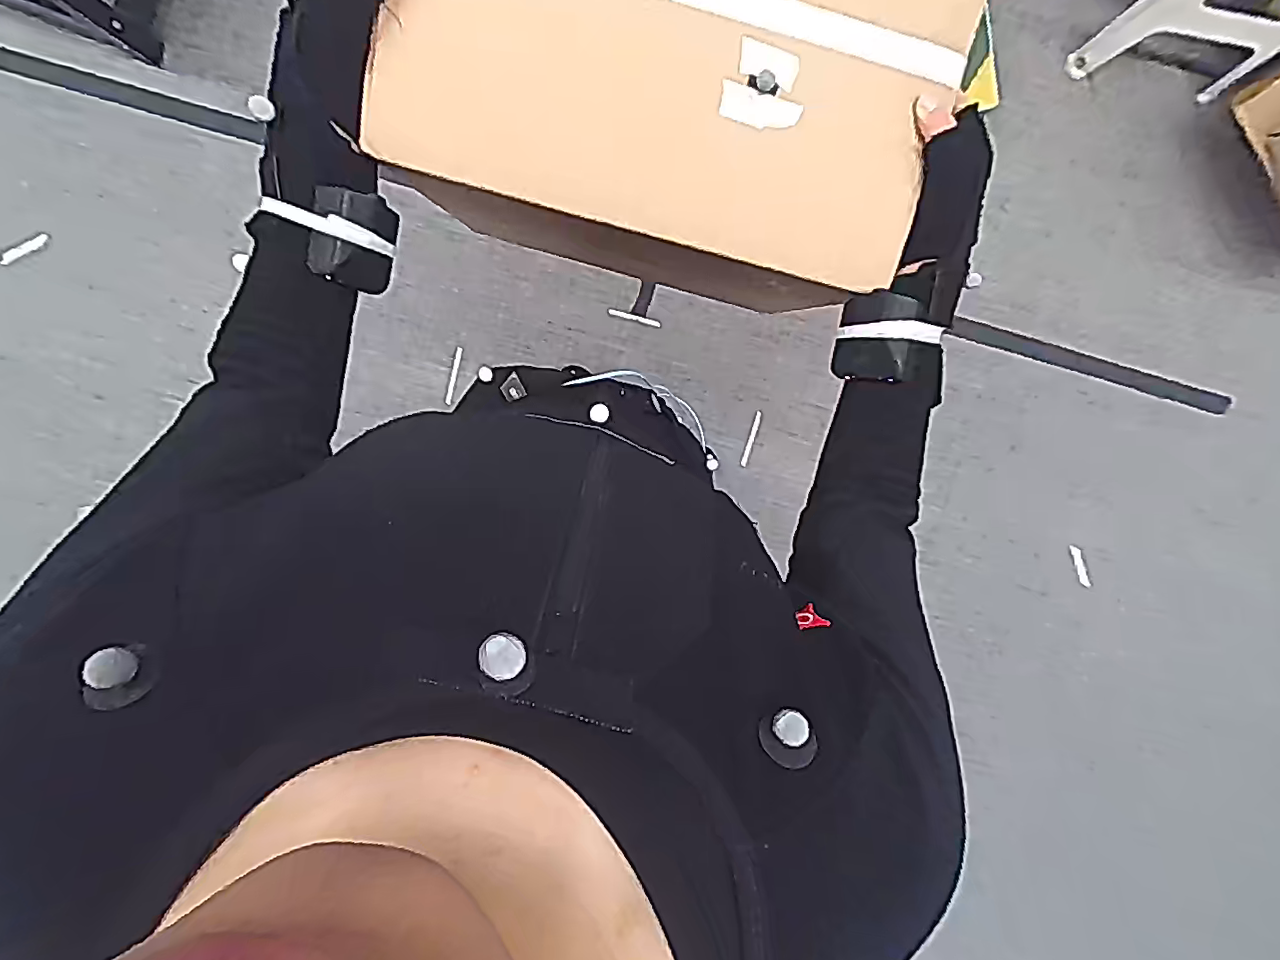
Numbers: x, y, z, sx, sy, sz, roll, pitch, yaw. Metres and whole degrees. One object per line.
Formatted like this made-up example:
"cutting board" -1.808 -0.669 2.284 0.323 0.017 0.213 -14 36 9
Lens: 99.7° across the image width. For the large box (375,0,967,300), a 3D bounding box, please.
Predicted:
"large box" 0.022 -0.382 0.520 0.408 0.320 0.320 13 105 -7
